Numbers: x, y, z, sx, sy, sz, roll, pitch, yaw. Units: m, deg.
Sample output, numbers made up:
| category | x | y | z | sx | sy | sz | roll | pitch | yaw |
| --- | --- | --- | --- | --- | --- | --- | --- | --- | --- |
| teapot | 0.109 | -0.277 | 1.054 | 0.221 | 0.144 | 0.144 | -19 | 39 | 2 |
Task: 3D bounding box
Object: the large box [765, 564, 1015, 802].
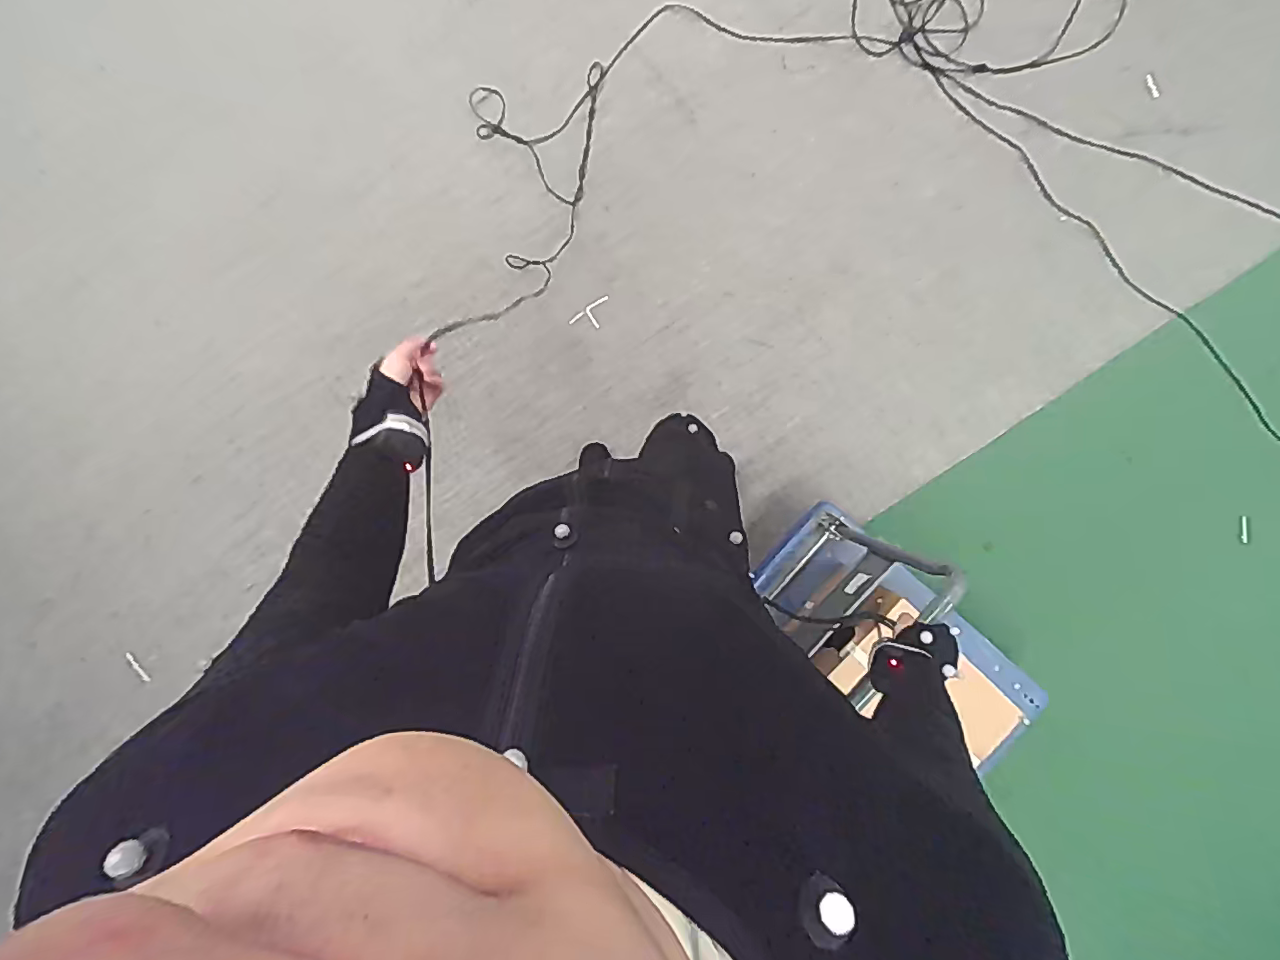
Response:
| category | x | y | z | sx | sy | sz | roll | pitch | yaw |
| --- | --- | --- | --- | --- | --- | --- | --- | --- | --- |
| large box | 0.592 | 0.477 | 1.350 | 0.408 | 0.320 | 0.320 | 43 | 92 | -6 |
